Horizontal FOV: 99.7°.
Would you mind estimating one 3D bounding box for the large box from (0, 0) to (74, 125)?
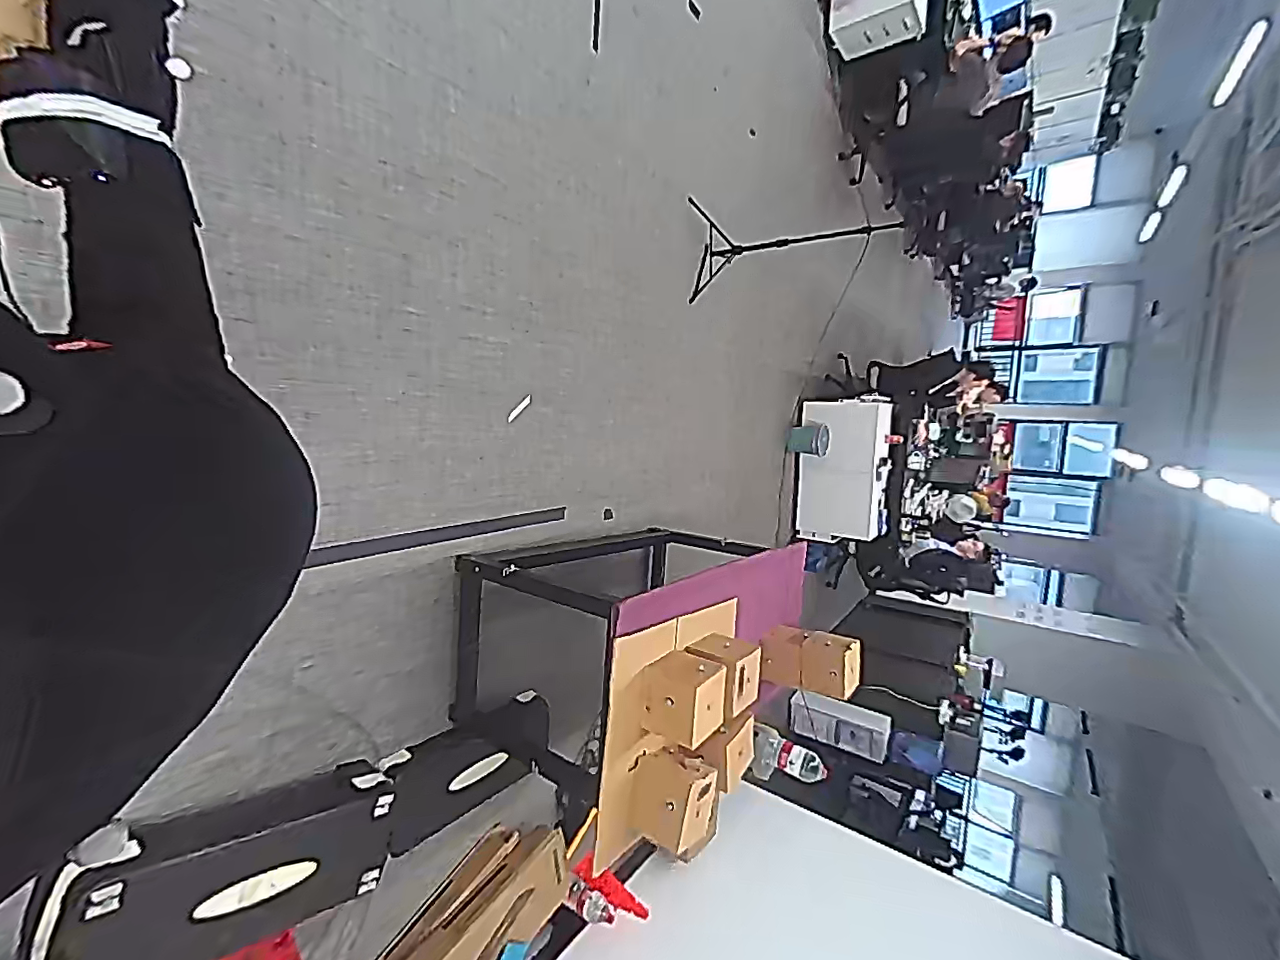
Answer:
[{"bbox_3d":[-0.624,-0.406,0.258,0.408,0.320,0.320,-20,125,-54],"label":"large box"}]
